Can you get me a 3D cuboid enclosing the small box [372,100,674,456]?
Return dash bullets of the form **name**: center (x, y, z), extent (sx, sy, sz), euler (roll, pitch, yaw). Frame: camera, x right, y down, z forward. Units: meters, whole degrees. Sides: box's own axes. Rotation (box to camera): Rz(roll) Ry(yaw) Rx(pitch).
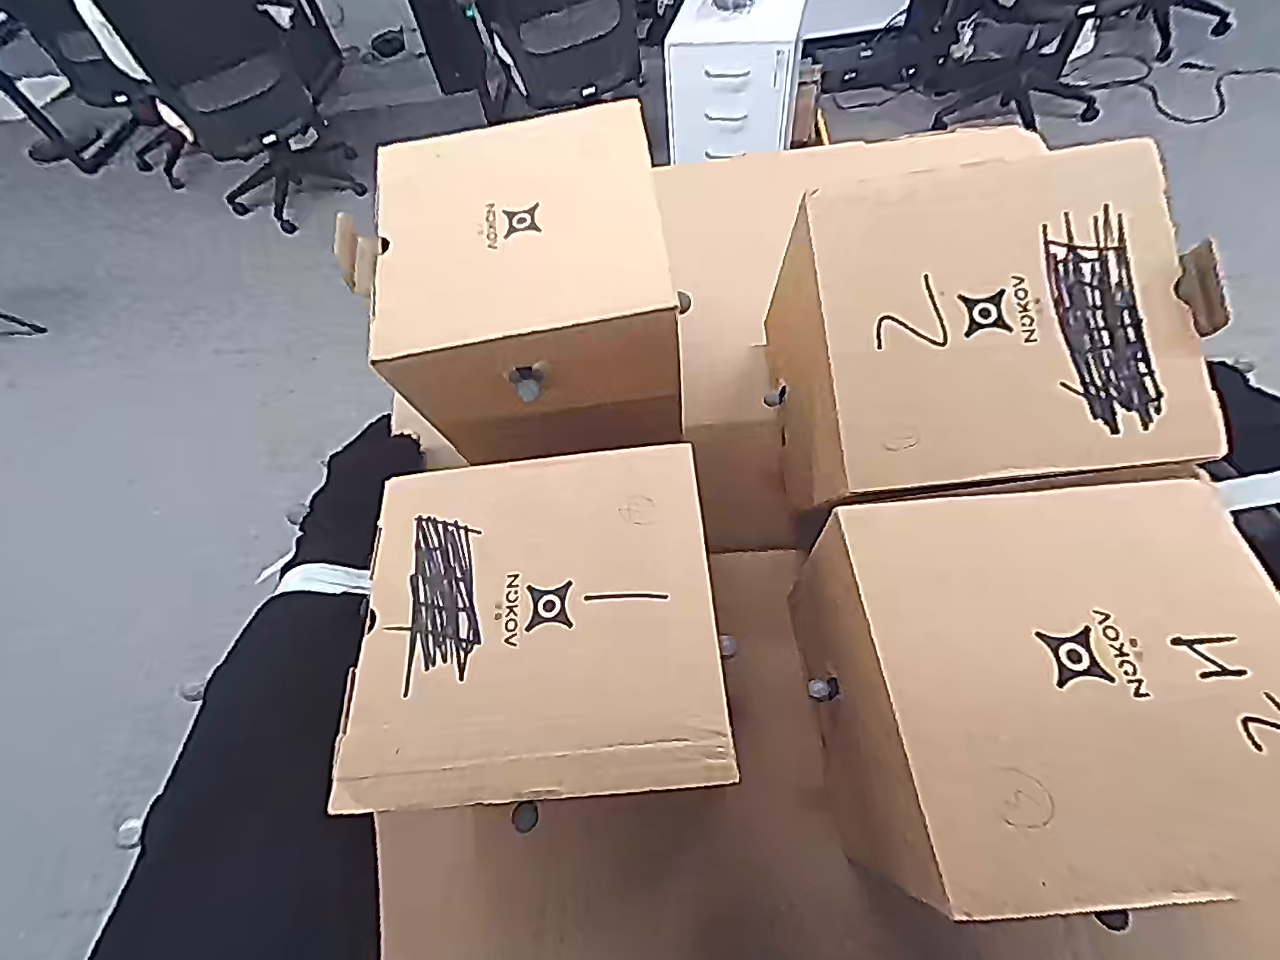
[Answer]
- **small box**: center (-0.070, -0.132, 0.406), extent (0.179, 0.176, 0.168), euler (-10, 70, 4)
